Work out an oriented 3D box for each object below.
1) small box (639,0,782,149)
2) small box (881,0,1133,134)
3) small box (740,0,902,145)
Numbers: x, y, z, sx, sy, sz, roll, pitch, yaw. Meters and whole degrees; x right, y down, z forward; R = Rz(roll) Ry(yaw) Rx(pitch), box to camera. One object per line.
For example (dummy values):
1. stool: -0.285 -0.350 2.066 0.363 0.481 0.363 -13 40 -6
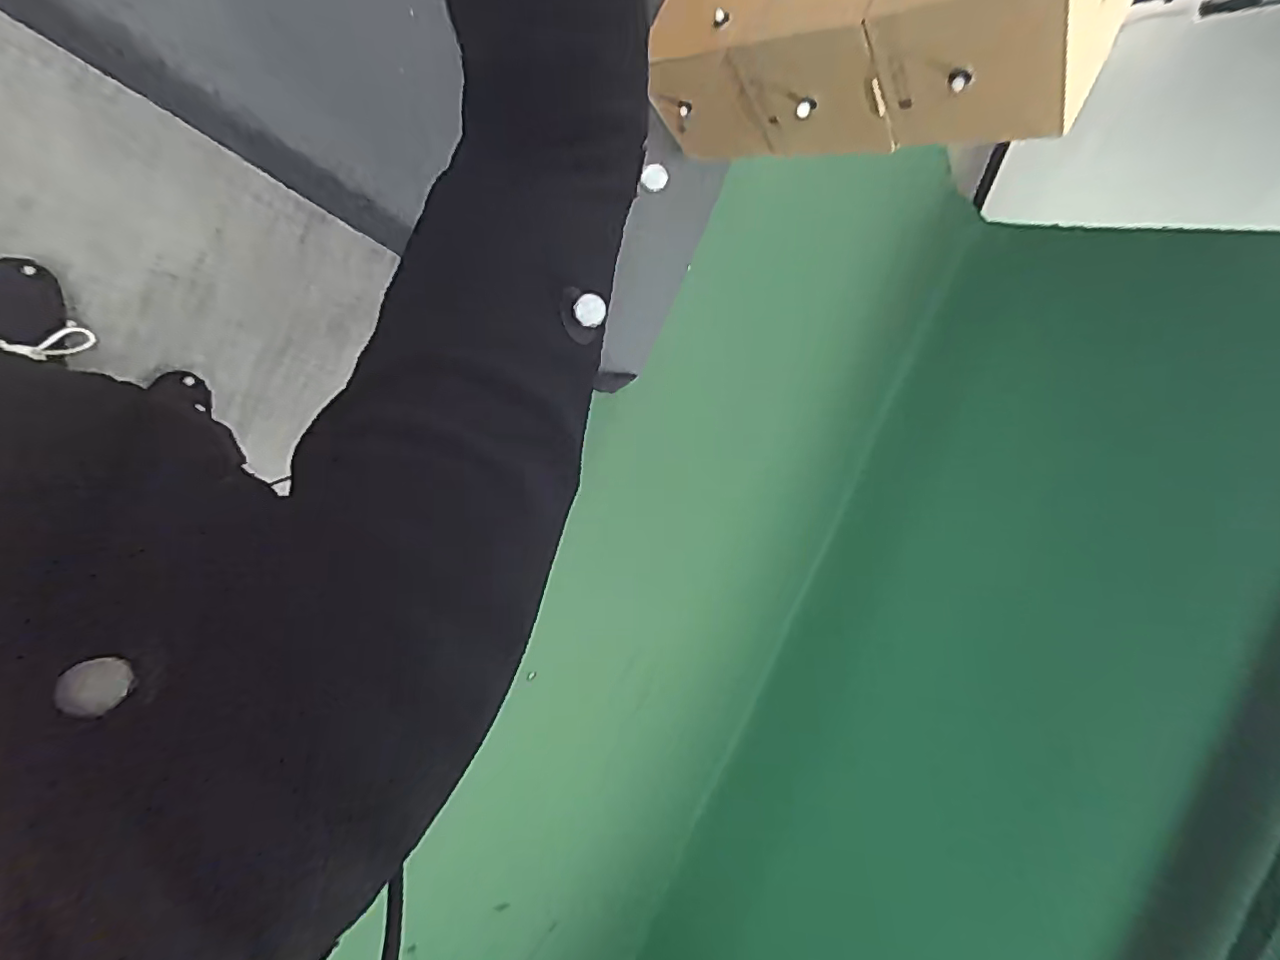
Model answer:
1. small box: 0.128 -0.584 0.731 0.168 0.176 0.179 27 90 -51
2. small box: 0.350 -0.466 0.518 0.168 0.176 0.179 24 92 -52
3. small box: 0.239 -0.523 0.627 0.168 0.176 0.179 27 91 -52
